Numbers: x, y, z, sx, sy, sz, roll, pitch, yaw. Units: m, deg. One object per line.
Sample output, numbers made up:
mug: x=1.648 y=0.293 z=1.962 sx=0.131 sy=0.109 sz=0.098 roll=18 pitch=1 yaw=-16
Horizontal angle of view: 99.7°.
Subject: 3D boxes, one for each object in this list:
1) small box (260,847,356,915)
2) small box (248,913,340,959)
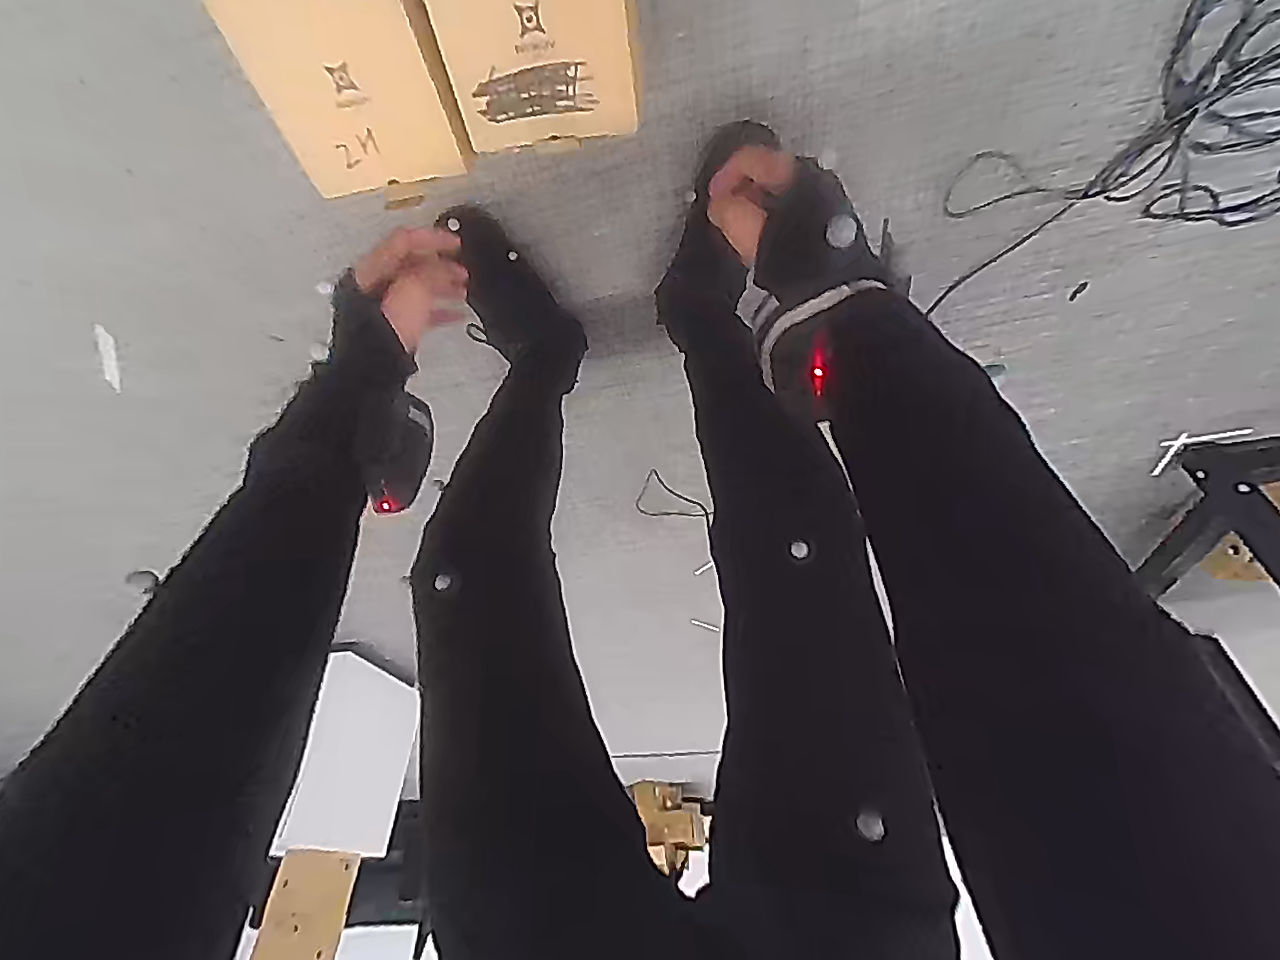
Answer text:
small box: x=-1.070 y=1.304 z=1.758 sx=0.179 sy=0.176 sz=0.168 roll=-6 pitch=141 yaw=9
small box: x=-1.072 y=1.436 z=1.662 sx=0.168 sy=0.176 sz=0.179 roll=-8 pitch=142 yaw=13
